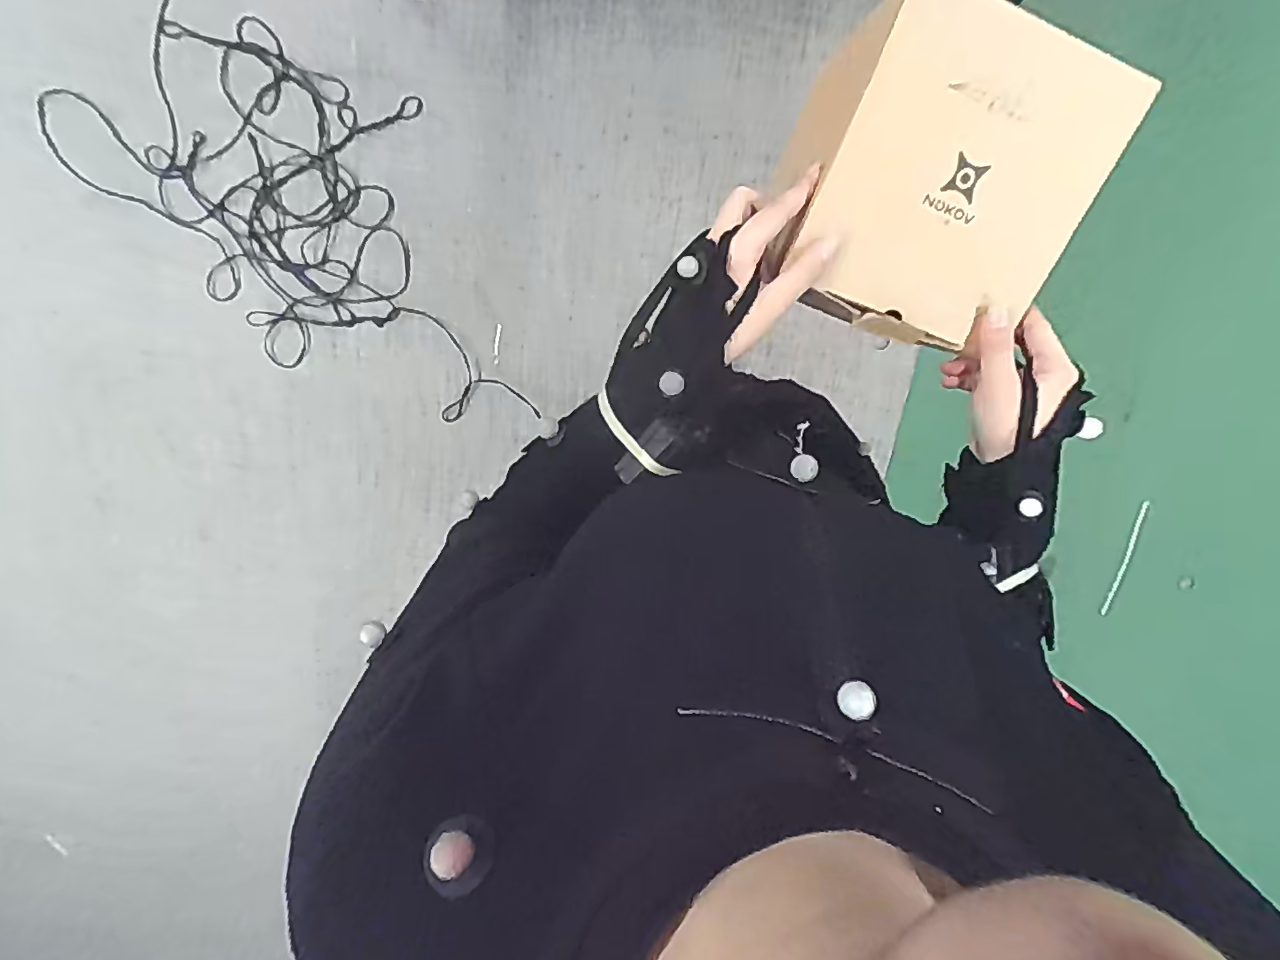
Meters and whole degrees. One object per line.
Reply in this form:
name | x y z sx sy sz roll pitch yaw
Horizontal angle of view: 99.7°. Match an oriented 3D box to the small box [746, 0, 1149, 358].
small box | 0.193 -0.212 0.407 0.168 0.176 0.179 18 108 -9
